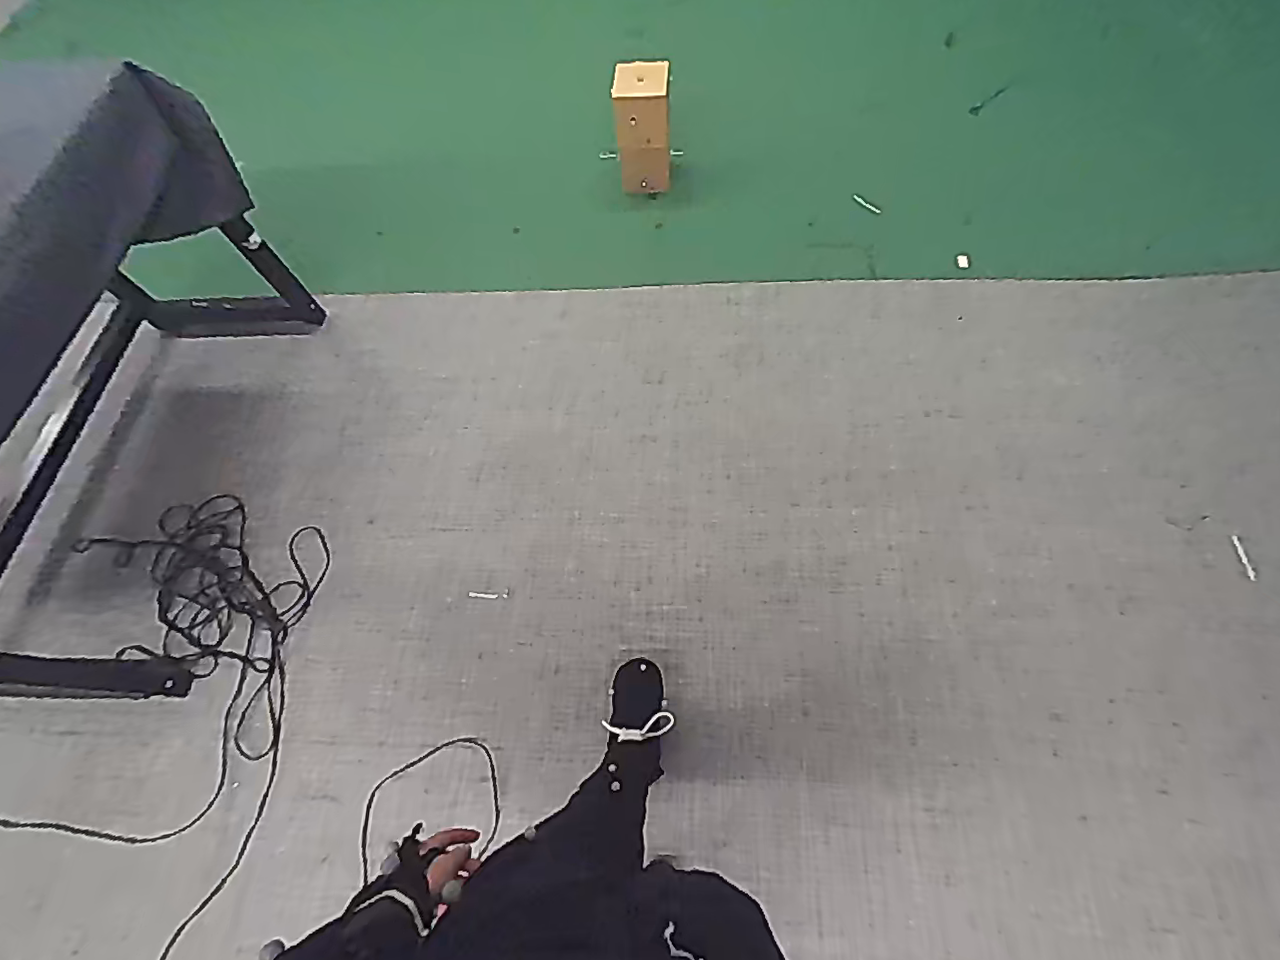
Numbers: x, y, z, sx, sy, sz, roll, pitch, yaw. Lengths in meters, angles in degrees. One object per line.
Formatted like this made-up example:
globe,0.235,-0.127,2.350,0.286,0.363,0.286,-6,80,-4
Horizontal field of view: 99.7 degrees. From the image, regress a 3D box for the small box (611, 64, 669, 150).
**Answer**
small box,0.006,-1.179,1.721,0.168,0.176,0.179,1,65,6
